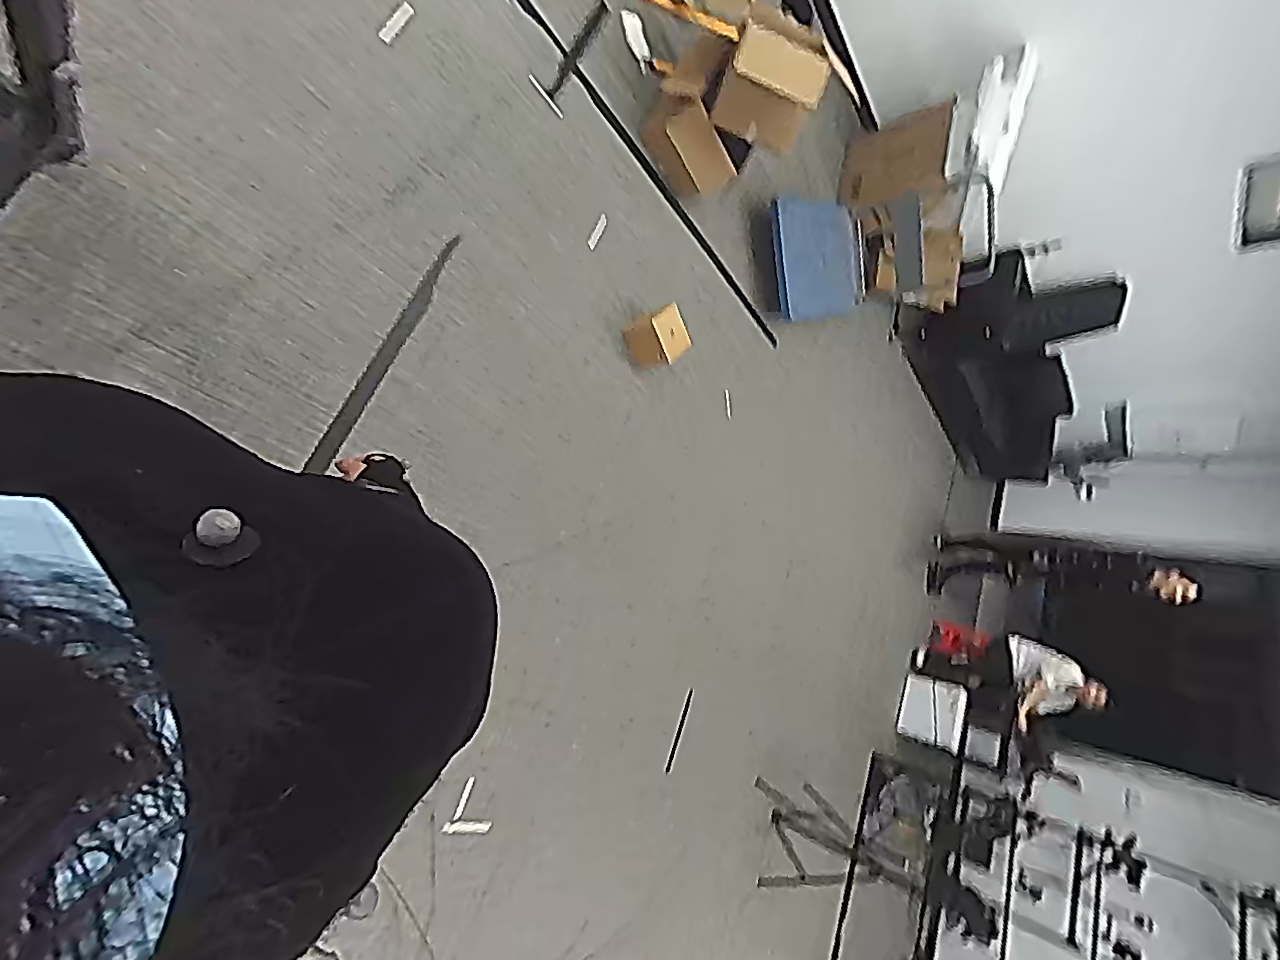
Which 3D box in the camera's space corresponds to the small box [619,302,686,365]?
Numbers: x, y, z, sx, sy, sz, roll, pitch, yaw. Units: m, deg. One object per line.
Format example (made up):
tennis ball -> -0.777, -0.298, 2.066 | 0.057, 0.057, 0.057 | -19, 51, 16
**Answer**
small box -> 0.047, -0.571, 2.122 | 0.168, 0.176, 0.179 | -48, 124, -34
